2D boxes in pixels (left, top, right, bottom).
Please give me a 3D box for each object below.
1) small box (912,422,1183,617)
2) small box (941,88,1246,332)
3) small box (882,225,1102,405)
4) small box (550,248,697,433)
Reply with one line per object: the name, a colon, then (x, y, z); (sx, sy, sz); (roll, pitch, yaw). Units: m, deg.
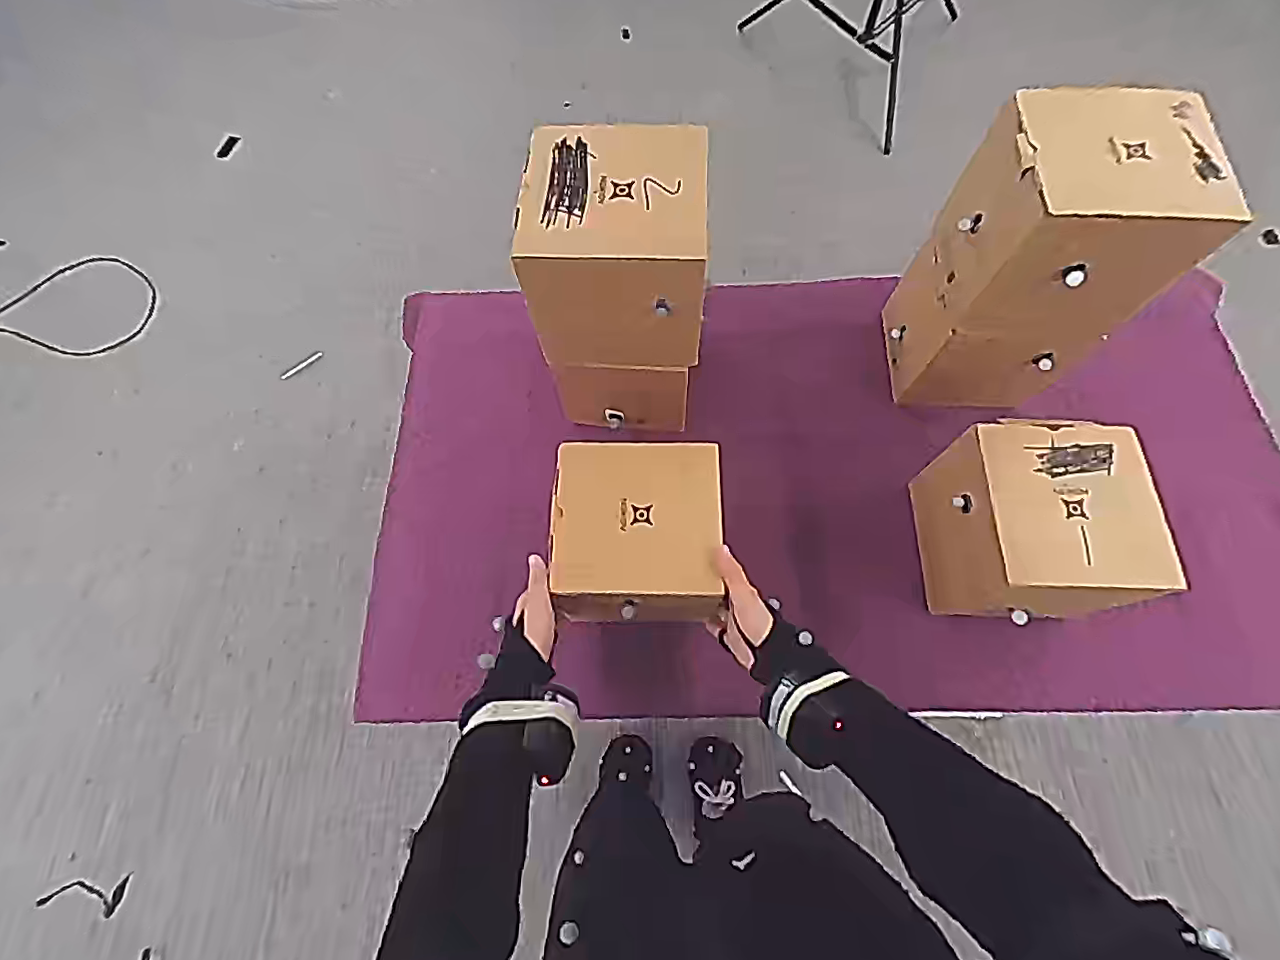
small box: (0.435, 0.052, 0.617); (0.168, 0.176, 0.179); (1, 68, 3)
small box: (0.443, -0.273, 0.571); (0.179, 0.176, 0.168); (3, 69, 4)
small box: (0.450, -0.211, 0.723); (0.179, 0.176, 0.168); (2, 69, 3)
small box: (-0.014, -0.182, 0.728); (0.168, 0.176, 0.179); (3, 70, 4)
